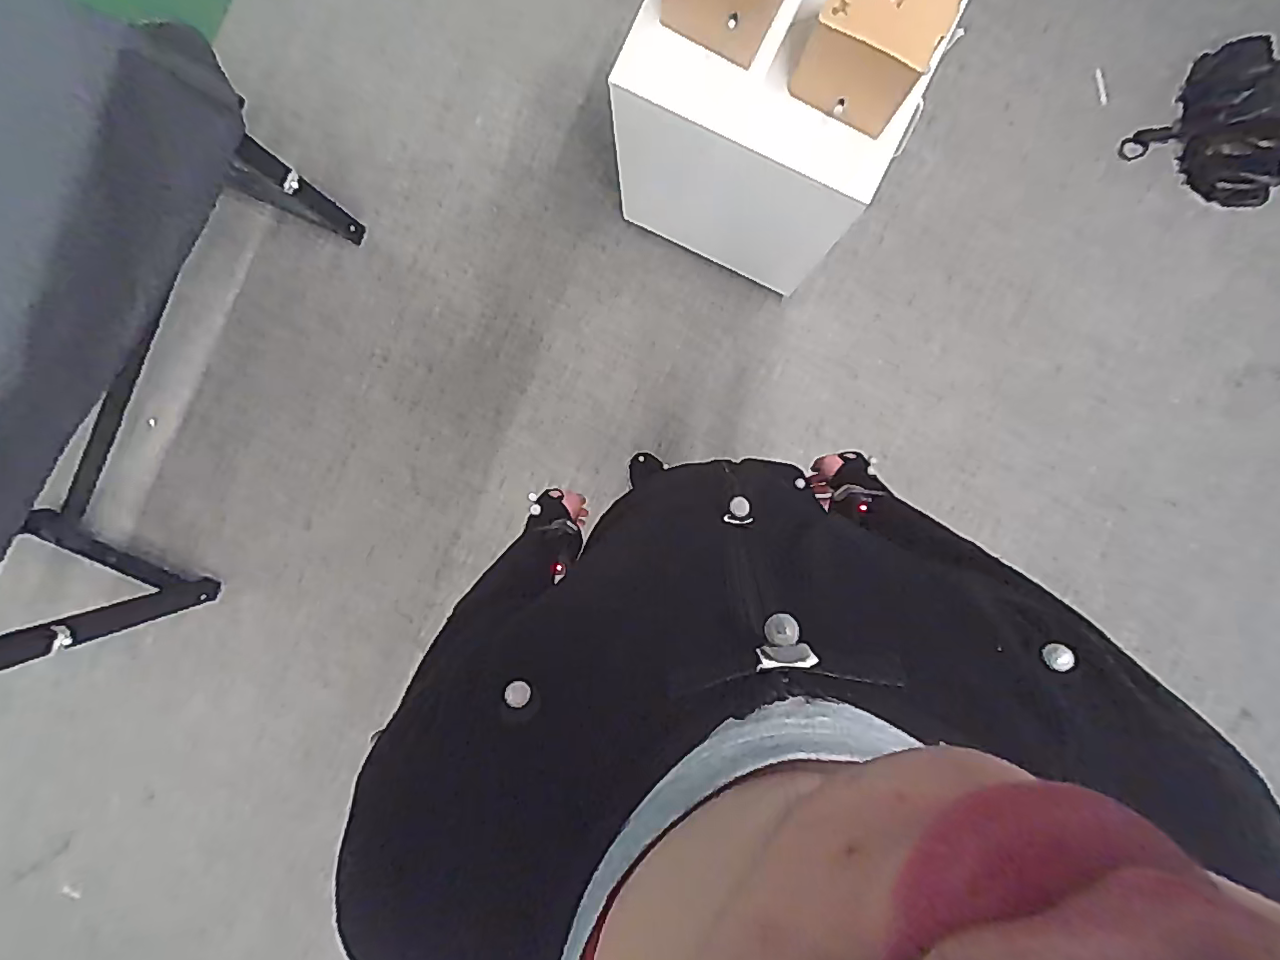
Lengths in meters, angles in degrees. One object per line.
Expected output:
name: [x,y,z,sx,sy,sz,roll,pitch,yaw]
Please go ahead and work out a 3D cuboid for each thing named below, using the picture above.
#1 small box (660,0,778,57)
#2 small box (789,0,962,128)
small box: [0.143,-0.816,0.839,0.179,0.176,0.168,27,91,-1]
small box: [0.364,-0.698,0.845,0.179,0.176,0.168,27,93,-2]
